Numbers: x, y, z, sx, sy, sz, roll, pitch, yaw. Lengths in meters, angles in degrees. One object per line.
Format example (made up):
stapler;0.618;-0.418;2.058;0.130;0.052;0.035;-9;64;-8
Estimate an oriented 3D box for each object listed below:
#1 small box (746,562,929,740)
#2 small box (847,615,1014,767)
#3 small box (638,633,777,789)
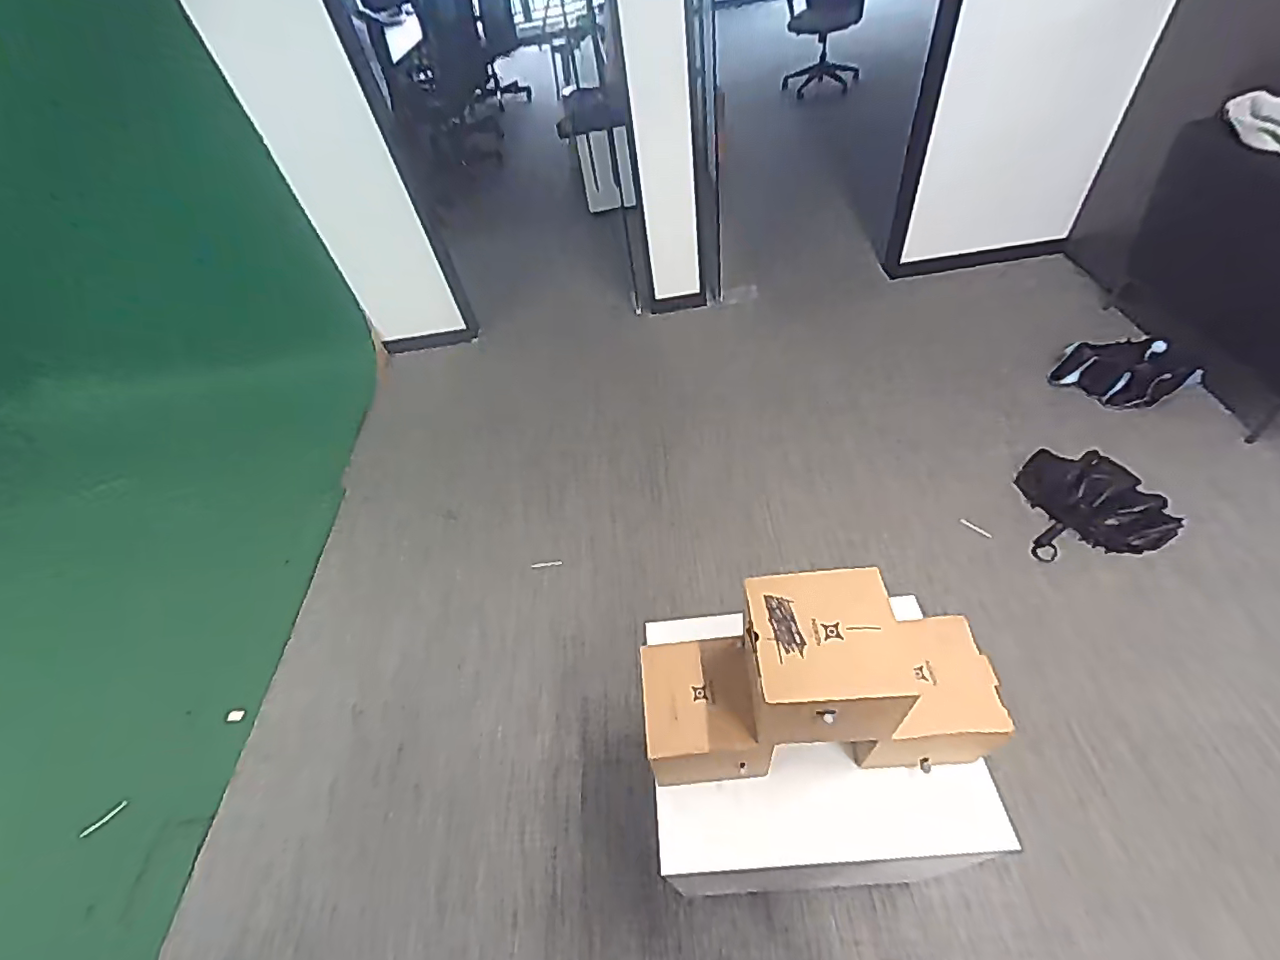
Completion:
small box;0.236;0.225;0.702;0.179;0.176;0.168;-5;48;3
small box;0.406;0.321;0.817;0.179;0.176;0.168;-6;49;3
small box;0.095;0.354;0.825;0.179;0.176;0.168;-7;47;0
